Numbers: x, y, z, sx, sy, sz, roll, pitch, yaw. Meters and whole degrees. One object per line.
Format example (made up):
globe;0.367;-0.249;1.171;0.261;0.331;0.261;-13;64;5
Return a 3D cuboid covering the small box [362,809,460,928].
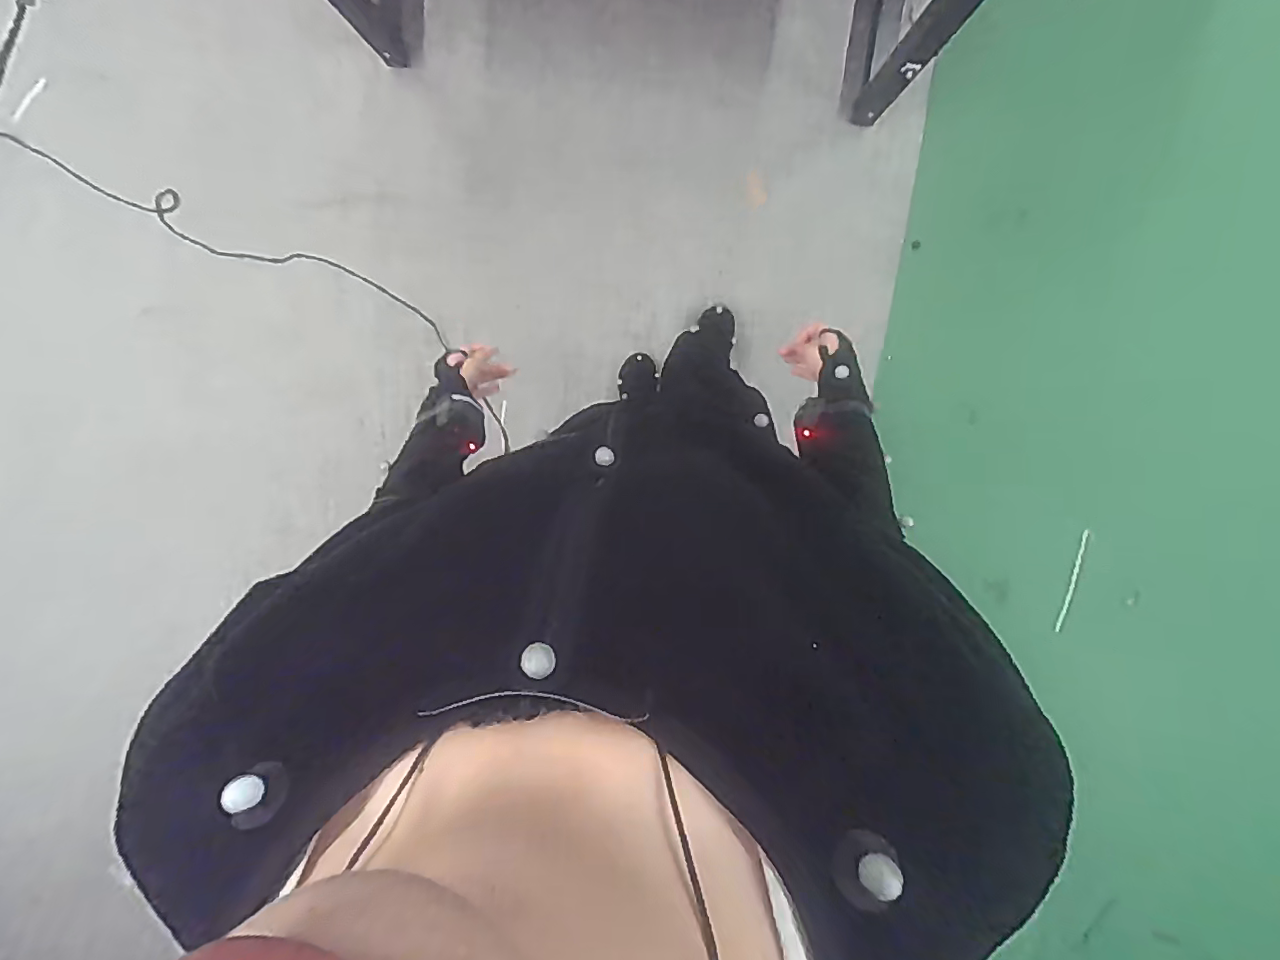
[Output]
small box;-0.624;1.066;1.494;0.168;0.176;0.179;26;102;-3
